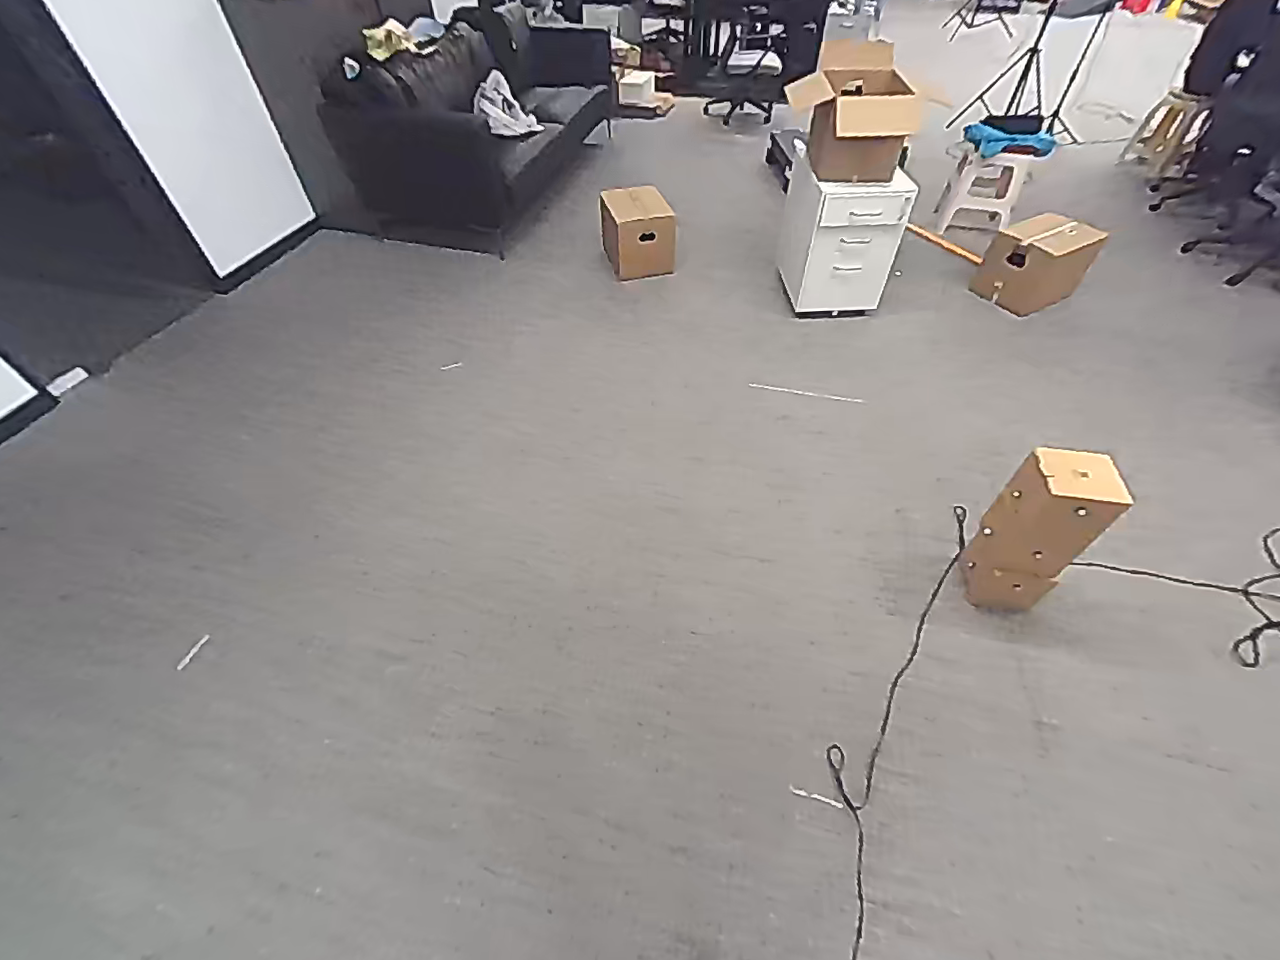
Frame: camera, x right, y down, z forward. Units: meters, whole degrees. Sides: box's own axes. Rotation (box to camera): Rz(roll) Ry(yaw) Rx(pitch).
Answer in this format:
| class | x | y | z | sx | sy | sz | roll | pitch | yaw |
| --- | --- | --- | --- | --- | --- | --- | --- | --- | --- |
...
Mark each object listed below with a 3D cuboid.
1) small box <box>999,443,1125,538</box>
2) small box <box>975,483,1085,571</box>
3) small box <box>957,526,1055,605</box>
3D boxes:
| class | x | y | z | sx | sy | sz | roll | pitch | yaw |
| --- | --- | --- | --- | --- | --- | --- | --- | --- | --- |
| small box | 1.064 | 0.030 | 1.380 | 0.179 | 0.176 | 0.168 | 7 | 48 | 9 |
| small box | 1.073 | 0.135 | 1.504 | 0.179 | 0.176 | 0.168 | 8 | 48 | 9 |
| small box | 1.076 | 0.258 | 1.613 | 0.179 | 0.176 | 0.168 | 6 | 49 | 6 |
